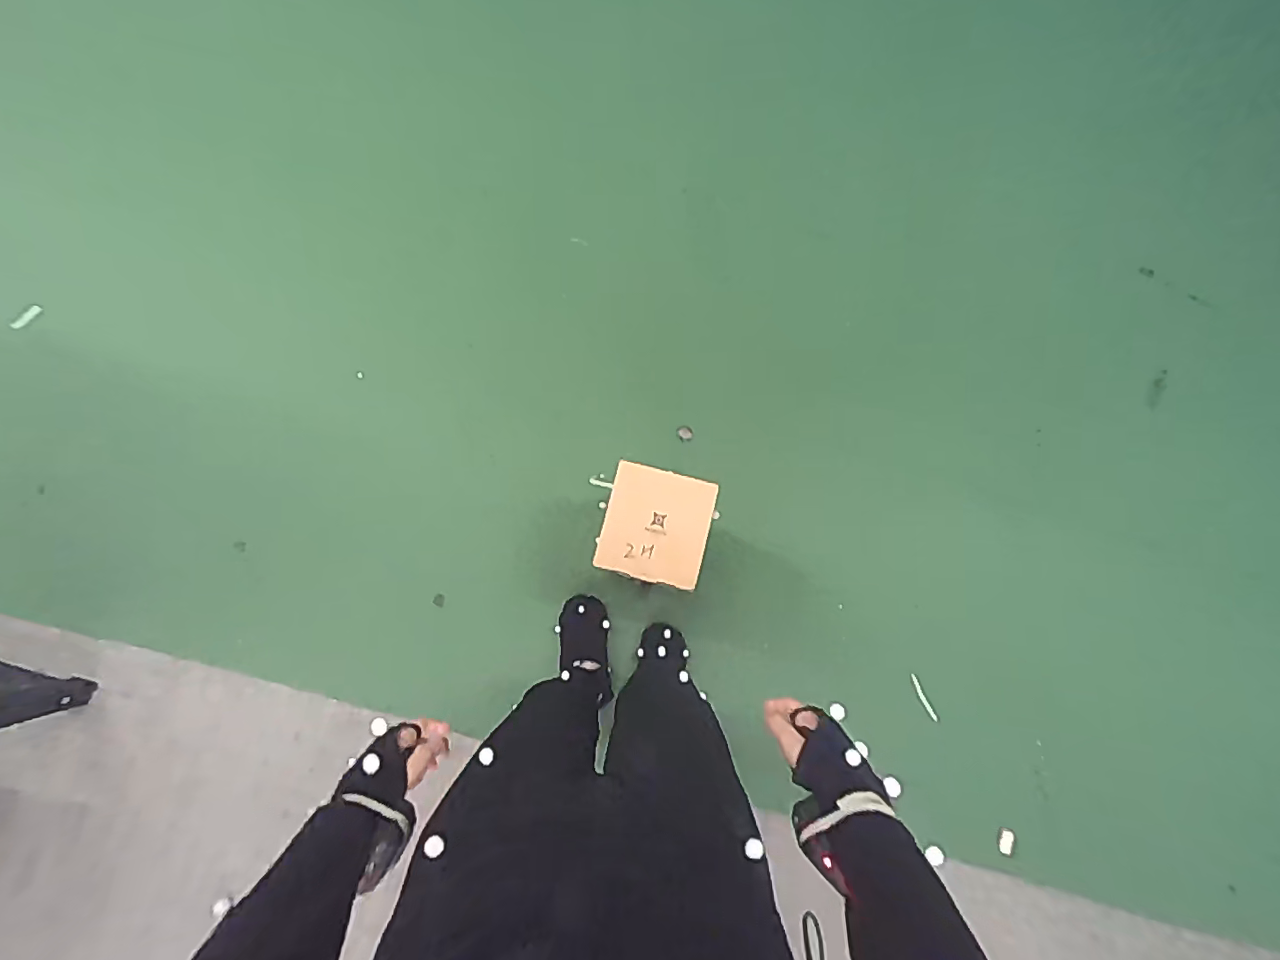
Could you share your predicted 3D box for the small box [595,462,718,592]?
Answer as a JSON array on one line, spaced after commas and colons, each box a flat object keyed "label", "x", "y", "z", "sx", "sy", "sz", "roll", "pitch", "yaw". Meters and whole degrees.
[{"label": "small box", "x": 0.024, "y": 0.083, "z": 0.932, "sx": 0.168, "sy": 0.176, "sz": 0.179, "roll": 14, "pitch": 83, "yaw": 1}]
